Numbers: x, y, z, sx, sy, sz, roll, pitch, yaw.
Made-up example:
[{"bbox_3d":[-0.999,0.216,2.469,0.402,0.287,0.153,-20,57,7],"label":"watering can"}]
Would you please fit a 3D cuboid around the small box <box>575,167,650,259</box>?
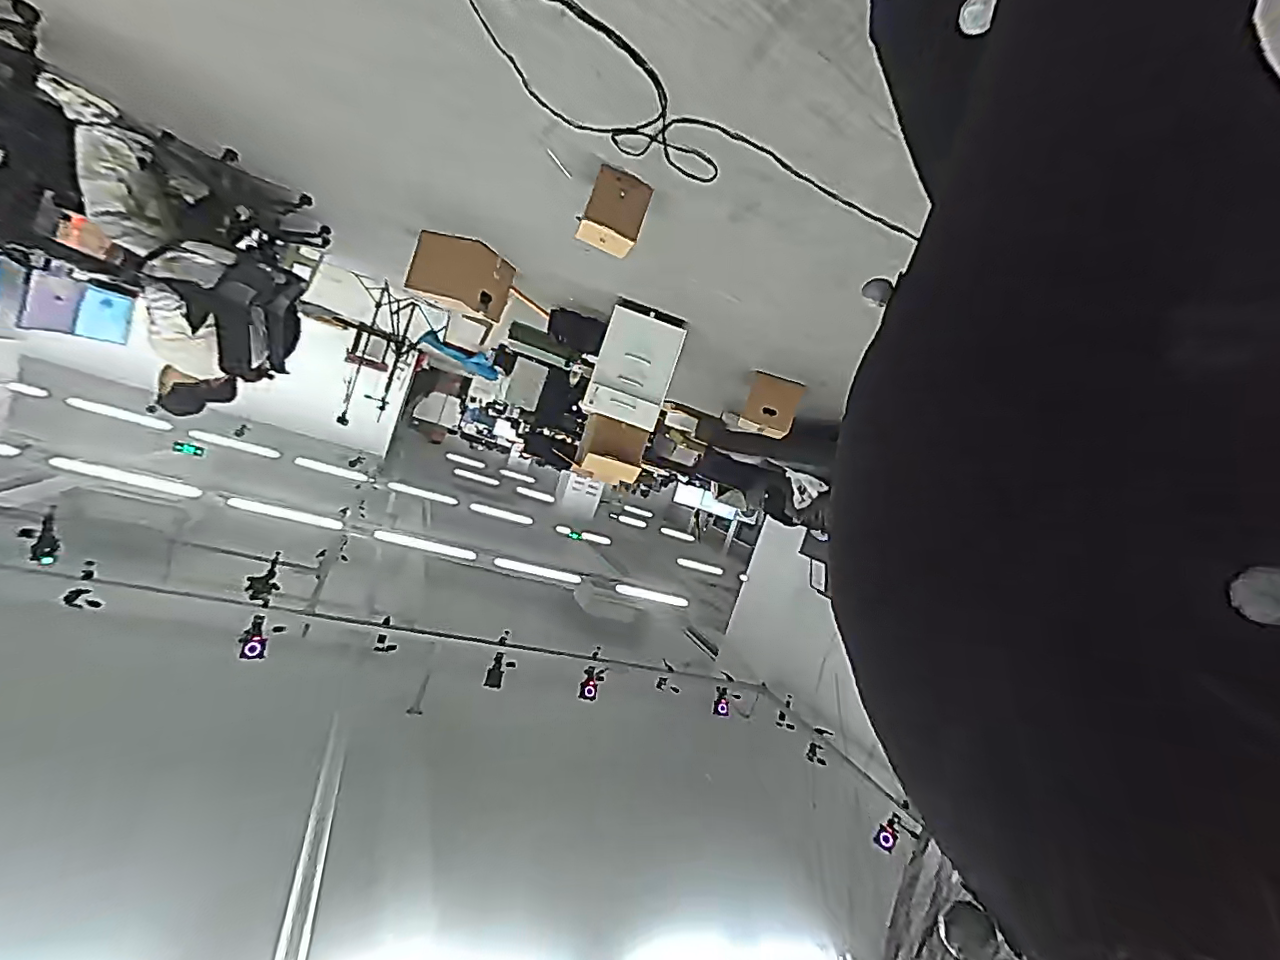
[{"bbox_3d":[-0.084,-0.807,1.645,0.168,0.176,0.179,18,-179,-16],"label":"small box"}]
